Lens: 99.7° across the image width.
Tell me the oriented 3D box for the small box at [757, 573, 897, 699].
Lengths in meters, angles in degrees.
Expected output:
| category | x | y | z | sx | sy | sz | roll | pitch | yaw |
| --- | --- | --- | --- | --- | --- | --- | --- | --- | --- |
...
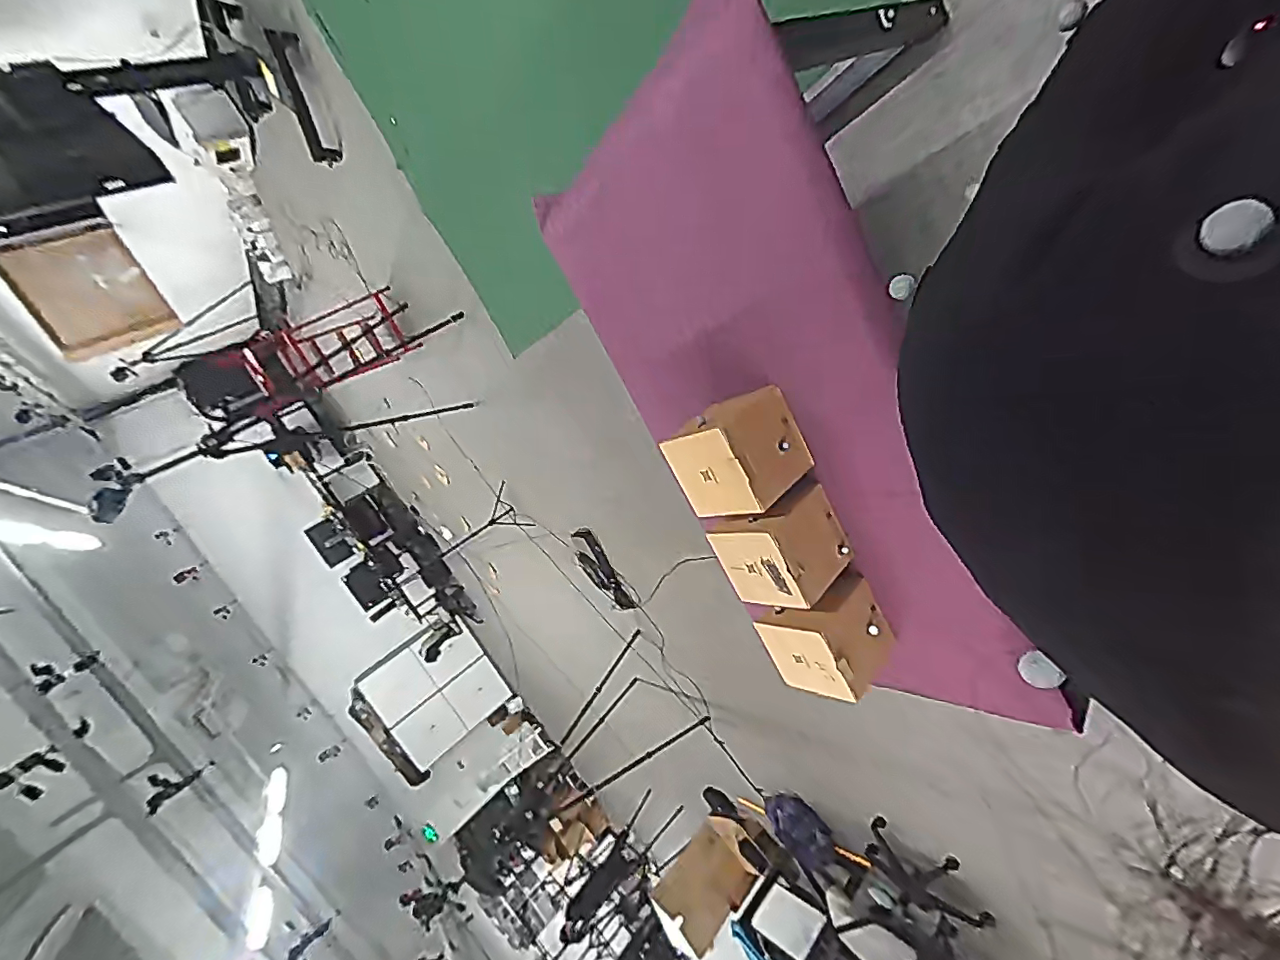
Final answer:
| category | x | y | z | sx | sy | sz | roll | pitch | yaw |
| --- | --- | --- | --- | --- | --- | --- | --- | --- | --- |
| small box | 0.378 | 0.303 | 1.090 | 0.179 | 0.176 | 0.168 | -11 | 111 | 57 |
